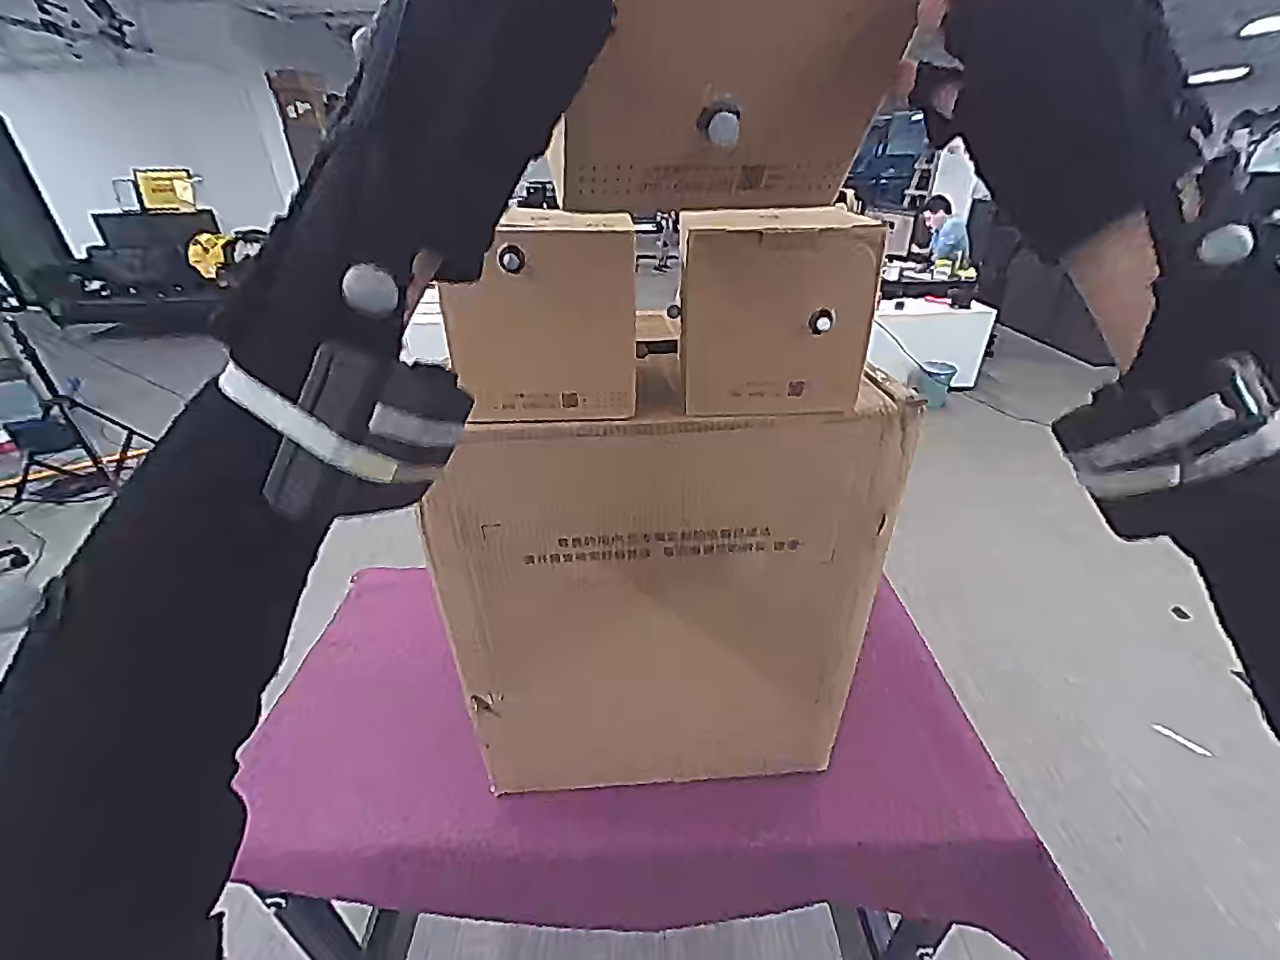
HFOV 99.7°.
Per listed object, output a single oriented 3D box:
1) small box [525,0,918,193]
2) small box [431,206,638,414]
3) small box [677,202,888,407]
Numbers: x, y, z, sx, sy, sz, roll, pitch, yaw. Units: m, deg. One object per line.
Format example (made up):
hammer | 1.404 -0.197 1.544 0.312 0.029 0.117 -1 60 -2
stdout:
small box | 0.031 -0.277 0.275 0.168 0.176 0.179 -8 62 -13
small box | -0.088 -0.174 0.537 0.168 0.176 0.179 -2 30 -2
small box | 0.124 -0.180 0.546 0.168 0.176 0.179 0 30 1
